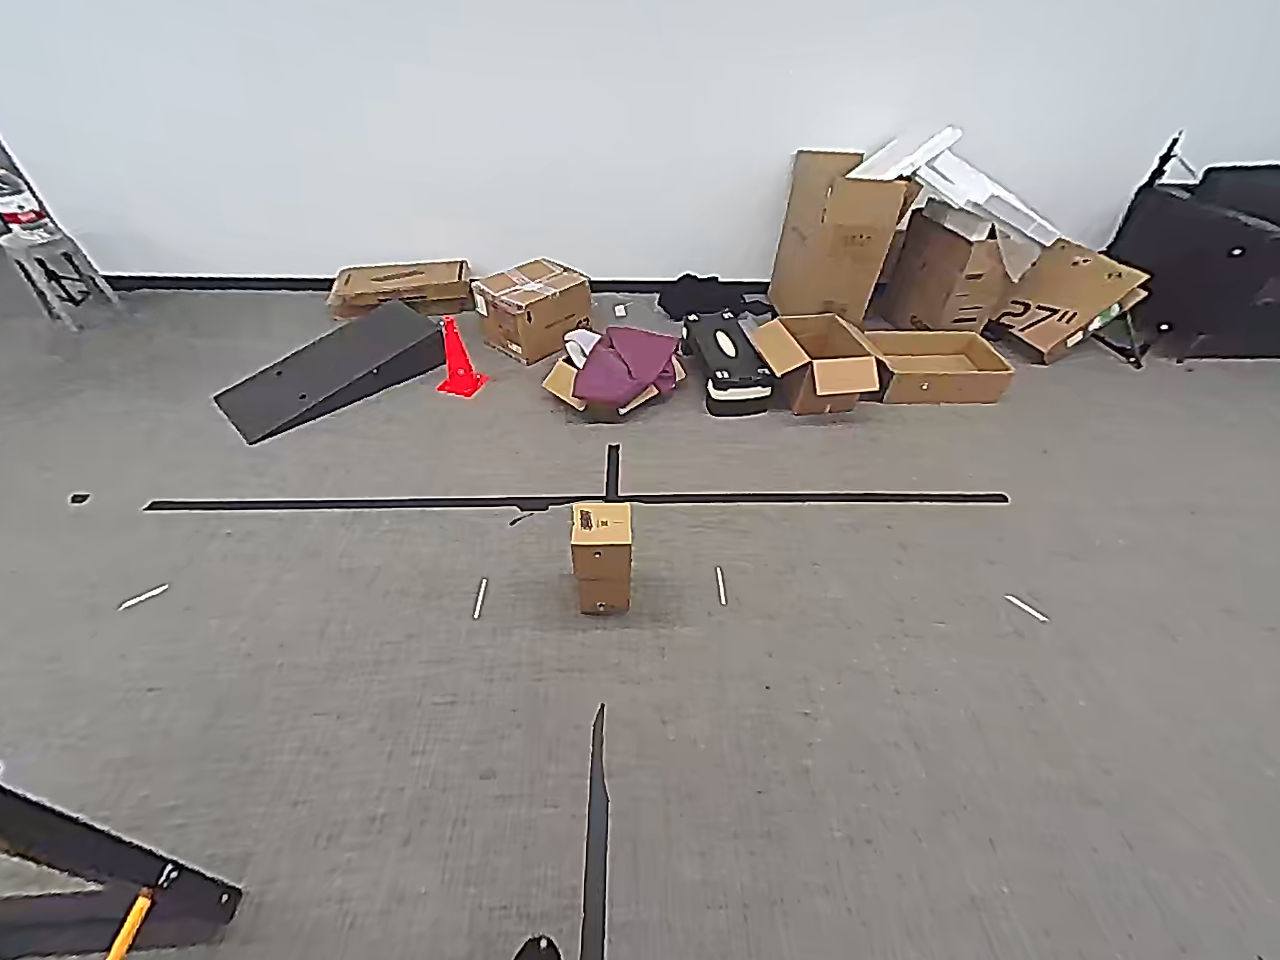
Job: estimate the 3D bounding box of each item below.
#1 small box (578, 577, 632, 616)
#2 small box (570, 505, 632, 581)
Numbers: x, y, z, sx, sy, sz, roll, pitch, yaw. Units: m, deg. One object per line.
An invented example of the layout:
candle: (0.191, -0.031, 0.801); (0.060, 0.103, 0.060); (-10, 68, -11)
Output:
small box: (-0.116, 0.316, 1.750); (0.168, 0.176, 0.179); (-4, 44, -5)
small box: (-0.113, 0.195, 1.638); (0.179, 0.176, 0.168); (-1, 43, -2)
